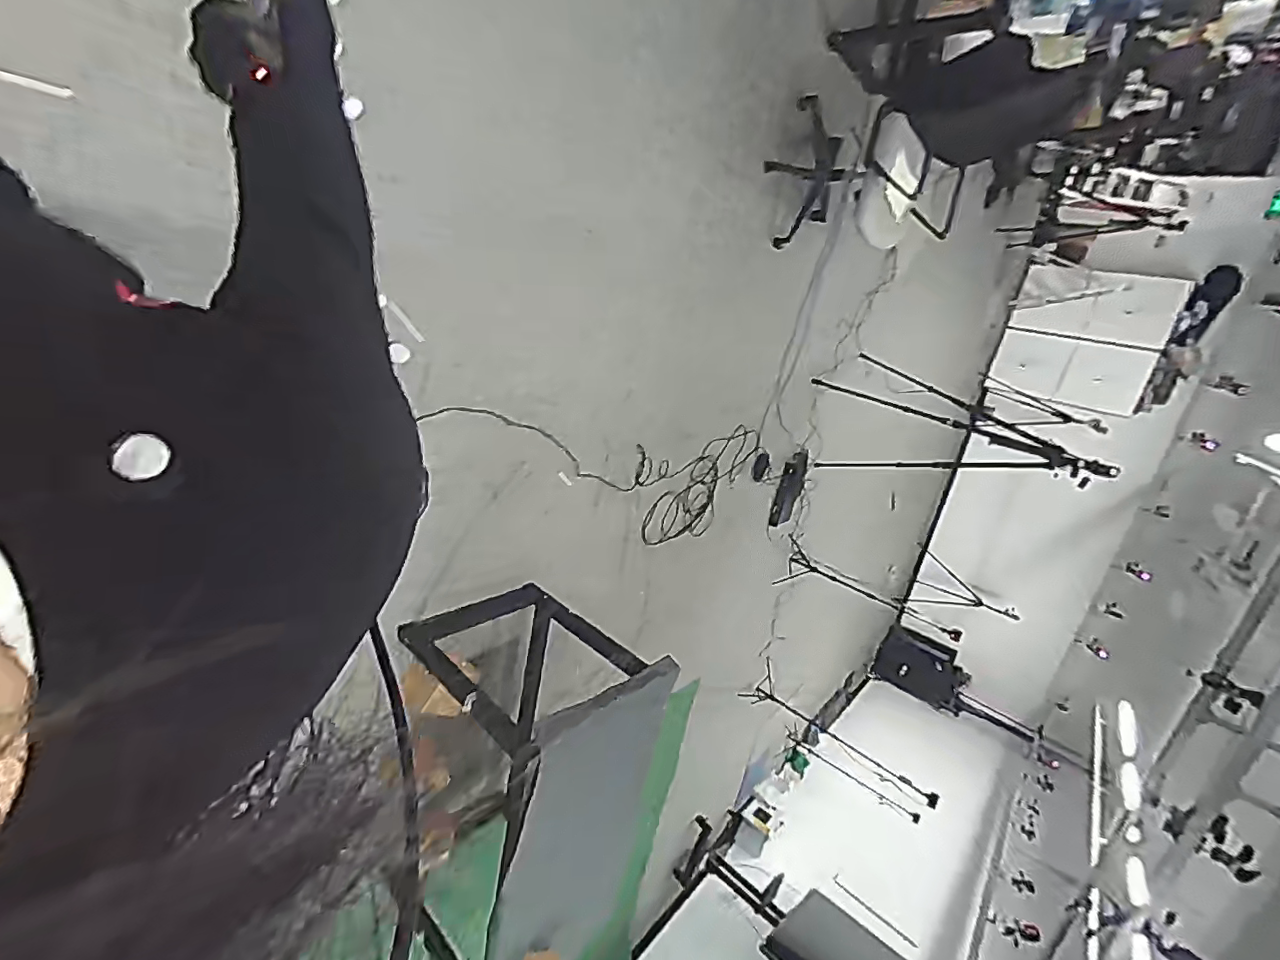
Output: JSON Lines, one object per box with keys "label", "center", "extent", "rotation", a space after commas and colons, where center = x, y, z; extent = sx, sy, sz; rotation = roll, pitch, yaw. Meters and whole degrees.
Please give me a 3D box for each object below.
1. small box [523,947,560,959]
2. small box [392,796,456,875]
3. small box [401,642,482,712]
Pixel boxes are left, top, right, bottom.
{"label": "small box", "center": [-0.318, 1.629, 1.711], "extent": [0.168, 0.176, 0.179], "rotation": [-53, 142, -22]}
{"label": "small box", "center": [-0.861, 1.397, 2.144], "extent": [0.168, 0.176, 0.179], "rotation": [-1, 111, -51]}
{"label": "small box", "center": [-0.715, 0.704, 1.940], "extent": [0.168, 0.176, 0.179], "rotation": [-59, 144, -10]}
